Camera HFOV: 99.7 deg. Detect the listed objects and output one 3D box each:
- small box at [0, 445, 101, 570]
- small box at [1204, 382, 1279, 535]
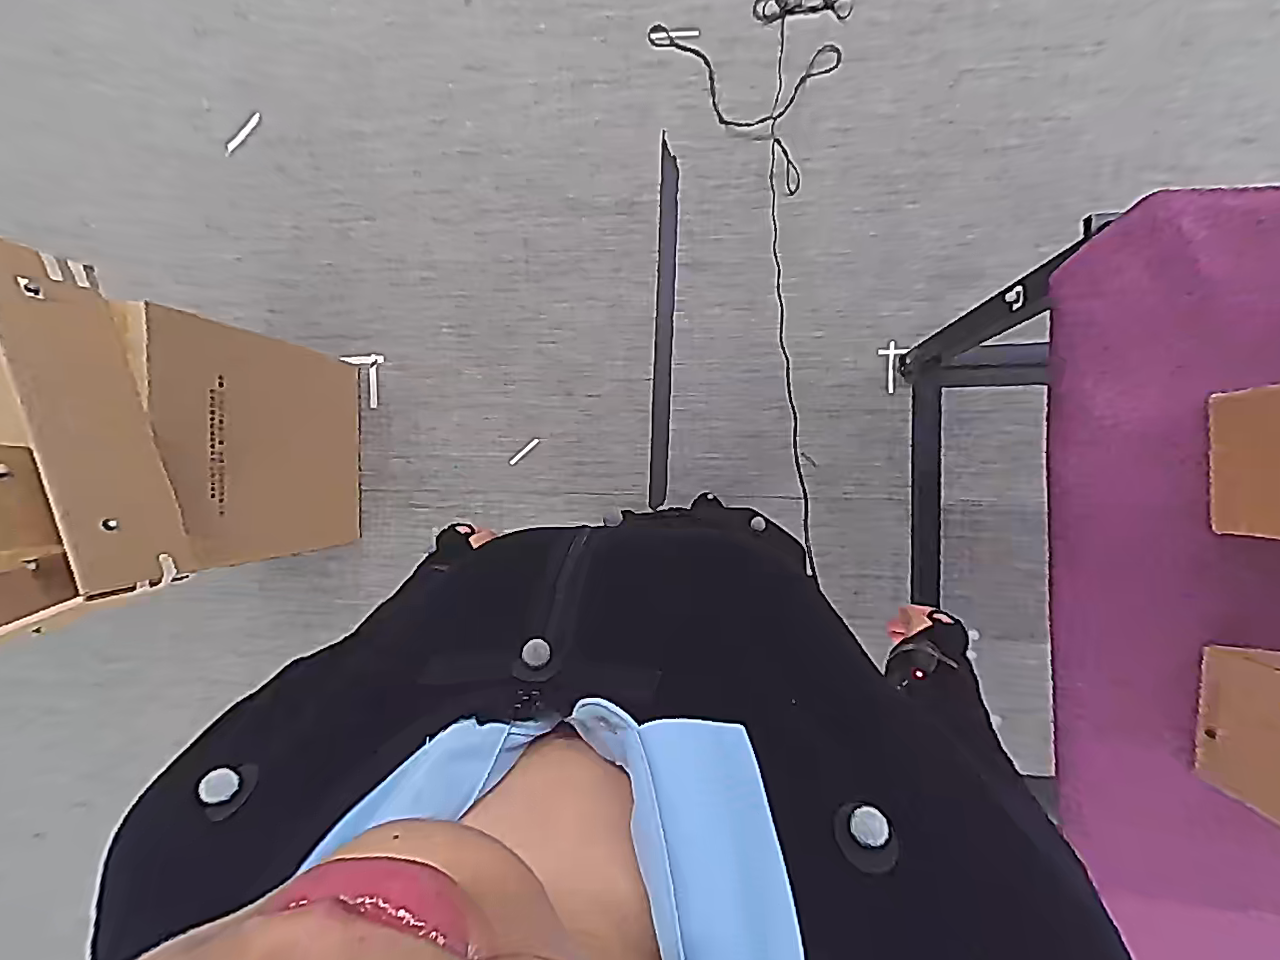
[{"bbox_3d":[-1.050,0.049,0.878,0.168,0.176,0.179,-19,88,5],"label":"small box"},{"bbox_3d":[0.785,-0.026,0.597,0.168,0.176,0.179,-2,91,7],"label":"small box"}]
